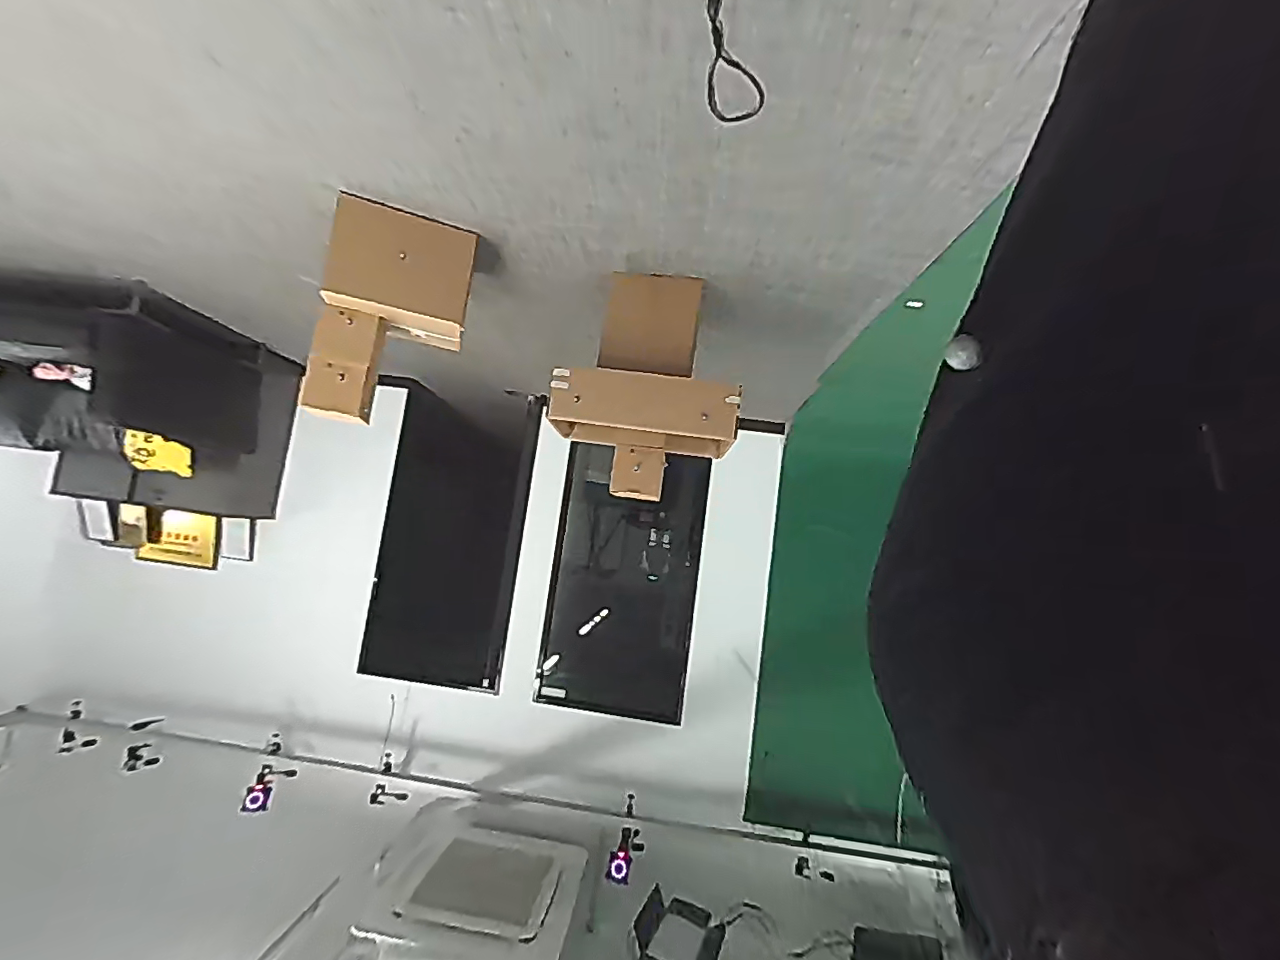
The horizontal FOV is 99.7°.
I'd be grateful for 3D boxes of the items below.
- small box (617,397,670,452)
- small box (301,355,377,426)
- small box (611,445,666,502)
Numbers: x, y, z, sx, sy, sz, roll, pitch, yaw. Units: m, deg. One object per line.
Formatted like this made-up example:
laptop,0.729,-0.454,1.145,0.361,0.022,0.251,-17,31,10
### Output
small box,0.016,-0.184,1.921,0.168,0.176,0.179,7,173,4
small box,-0.956,-0.283,1.732,0.168,0.176,0.179,10,173,-16
small box,-0.002,-0.022,1.900,0.168,0.176,0.179,7,172,6
